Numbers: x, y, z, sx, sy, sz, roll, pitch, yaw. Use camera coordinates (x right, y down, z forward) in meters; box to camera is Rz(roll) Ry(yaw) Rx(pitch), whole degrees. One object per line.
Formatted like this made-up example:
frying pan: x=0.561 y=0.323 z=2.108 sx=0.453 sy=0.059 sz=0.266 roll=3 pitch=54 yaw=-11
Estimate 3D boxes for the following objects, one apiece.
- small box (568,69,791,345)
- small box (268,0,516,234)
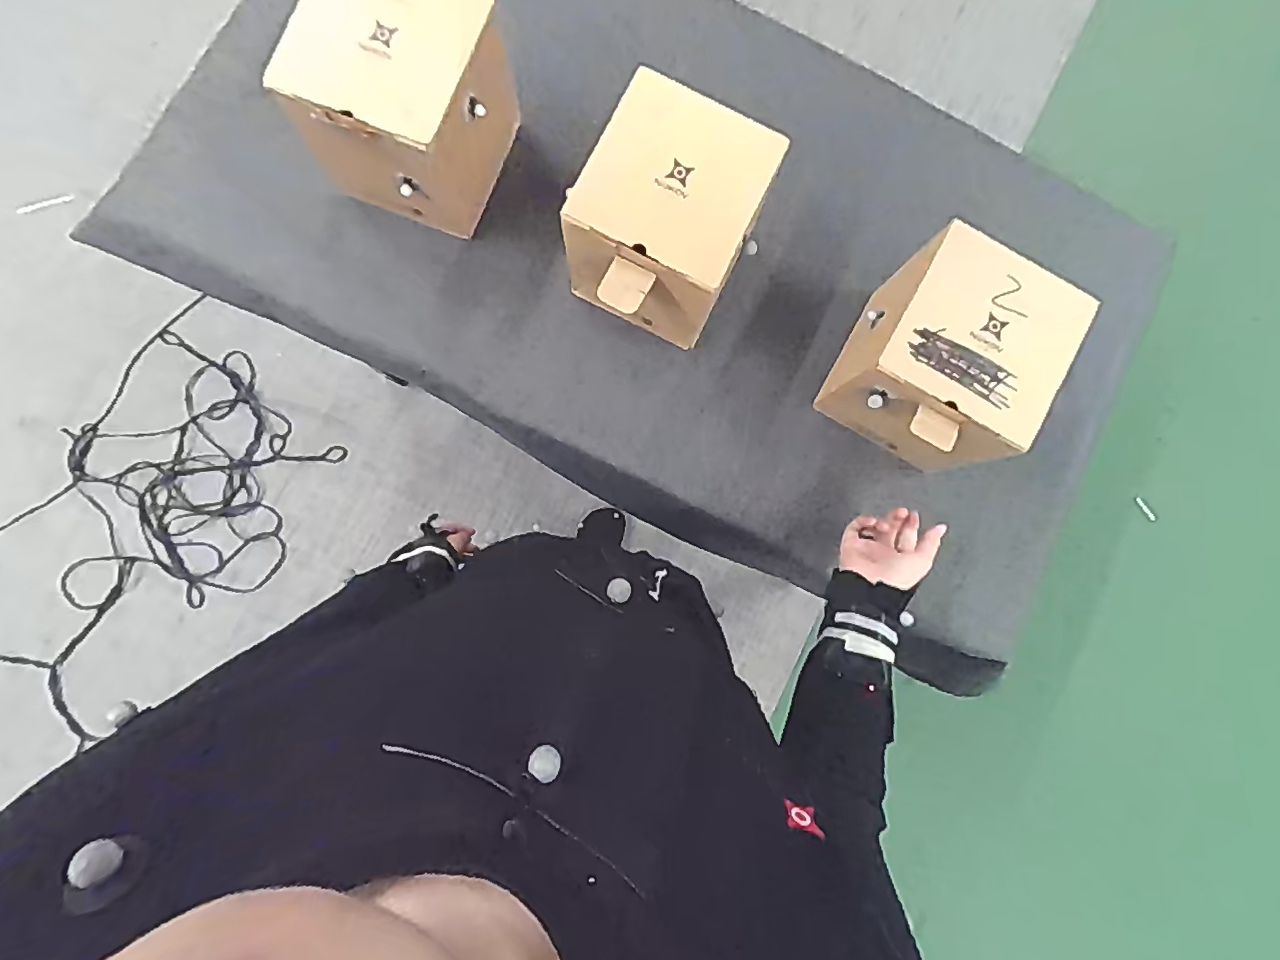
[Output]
small box: x=0.034 y=-0.281 z=0.596 sx=0.168 sy=0.176 sz=0.179 roll=26 pitch=84 yaw=-1
small box: x=-0.247 y=-0.409 z=0.592 sx=0.168 sy=0.176 sz=0.179 roll=20 pitch=83 yaw=-3
